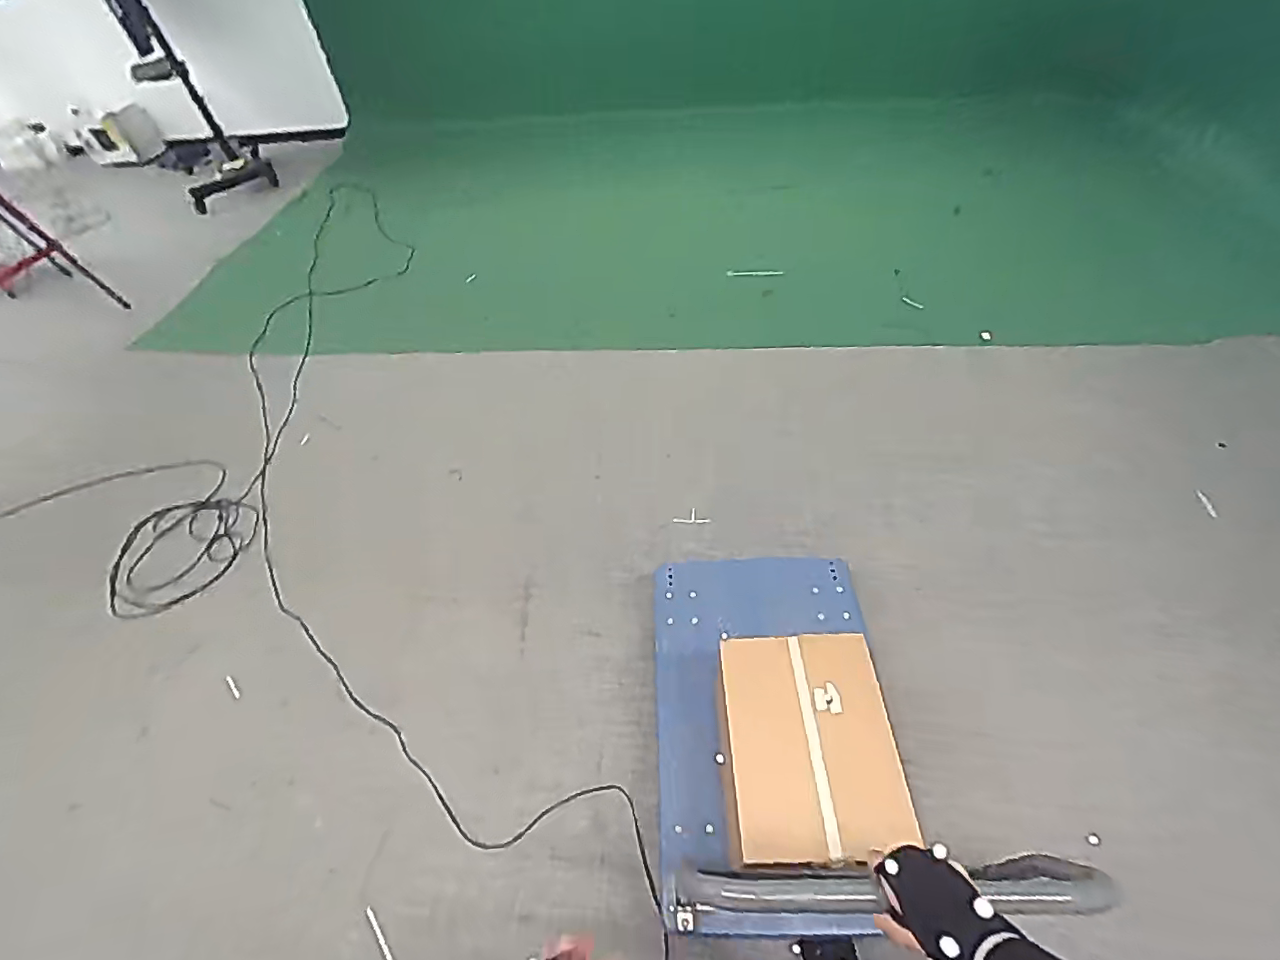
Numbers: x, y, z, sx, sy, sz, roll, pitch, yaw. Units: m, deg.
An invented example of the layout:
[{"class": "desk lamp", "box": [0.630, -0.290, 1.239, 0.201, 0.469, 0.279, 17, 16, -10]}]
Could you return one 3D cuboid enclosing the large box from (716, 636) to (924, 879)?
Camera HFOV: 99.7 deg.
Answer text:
[{"class": "large box", "box": [0.340, 0.595, 1.161, 0.320, 0.320, 0.408, -3, 50, 2]}]
